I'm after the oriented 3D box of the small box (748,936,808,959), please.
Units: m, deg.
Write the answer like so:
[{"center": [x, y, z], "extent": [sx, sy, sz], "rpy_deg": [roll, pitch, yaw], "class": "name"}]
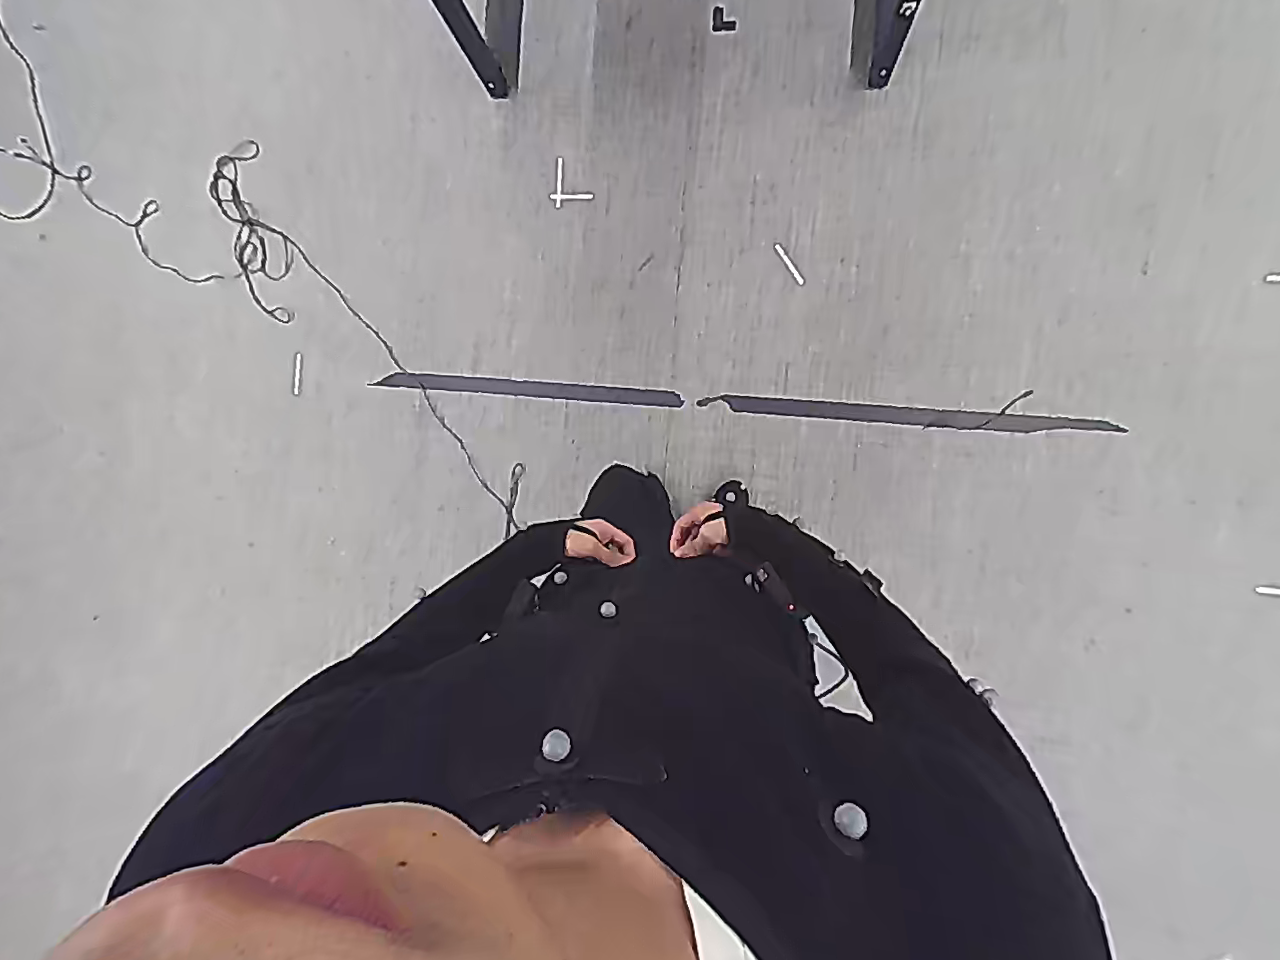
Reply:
[{"center": [0.383, 1.417, 1.481], "extent": [0.168, 0.176, 0.179], "rpy_deg": [7, 93, 7], "class": "small box"}]
